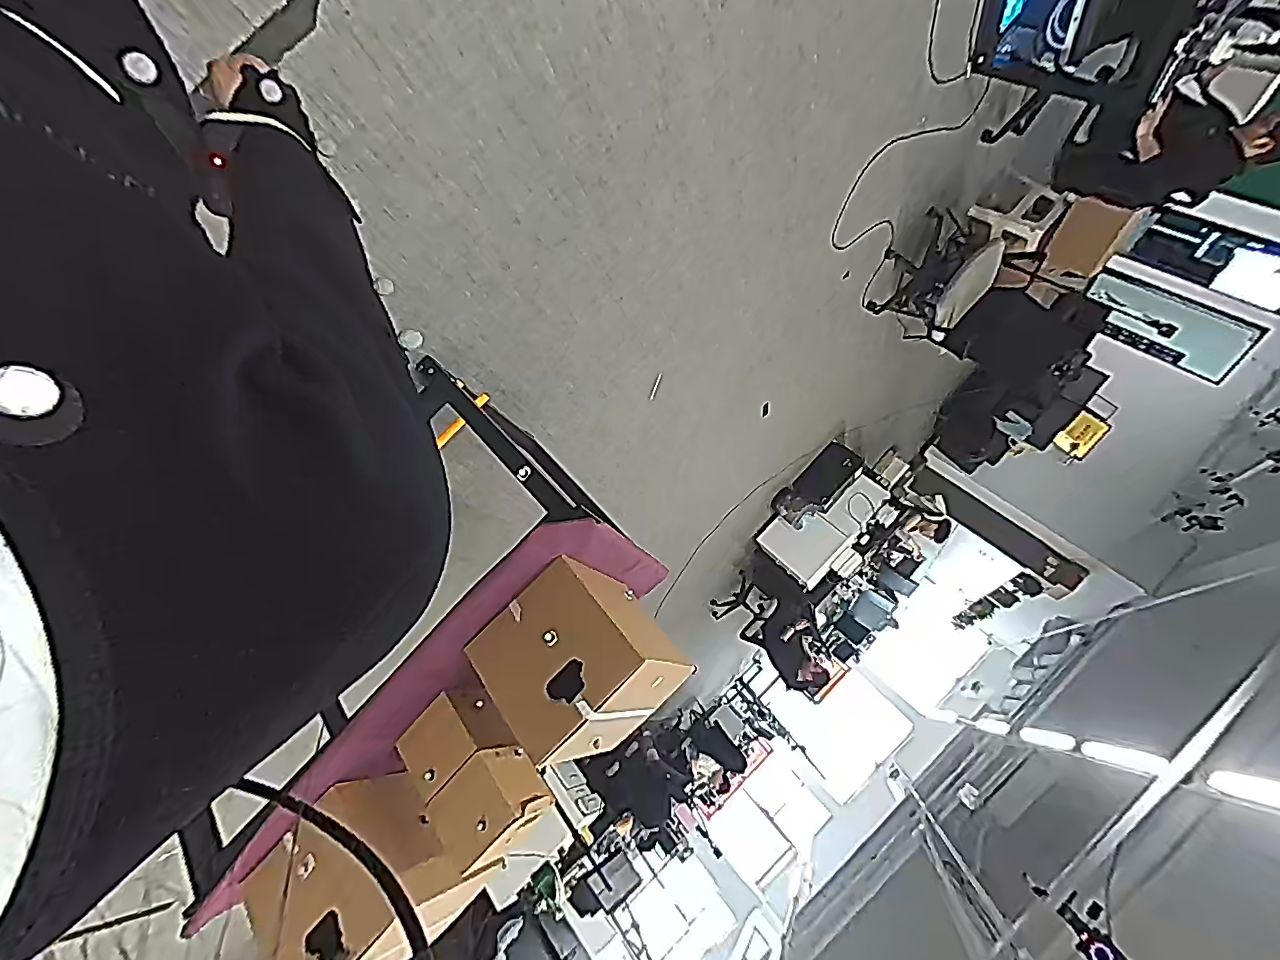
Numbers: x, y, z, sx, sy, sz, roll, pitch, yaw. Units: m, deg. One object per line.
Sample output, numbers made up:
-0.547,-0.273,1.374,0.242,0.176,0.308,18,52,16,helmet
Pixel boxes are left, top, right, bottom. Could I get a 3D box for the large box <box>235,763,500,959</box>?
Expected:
-0.624,0.932,1.283,0.320,0.320,0.408,-46,153,-1,large box
